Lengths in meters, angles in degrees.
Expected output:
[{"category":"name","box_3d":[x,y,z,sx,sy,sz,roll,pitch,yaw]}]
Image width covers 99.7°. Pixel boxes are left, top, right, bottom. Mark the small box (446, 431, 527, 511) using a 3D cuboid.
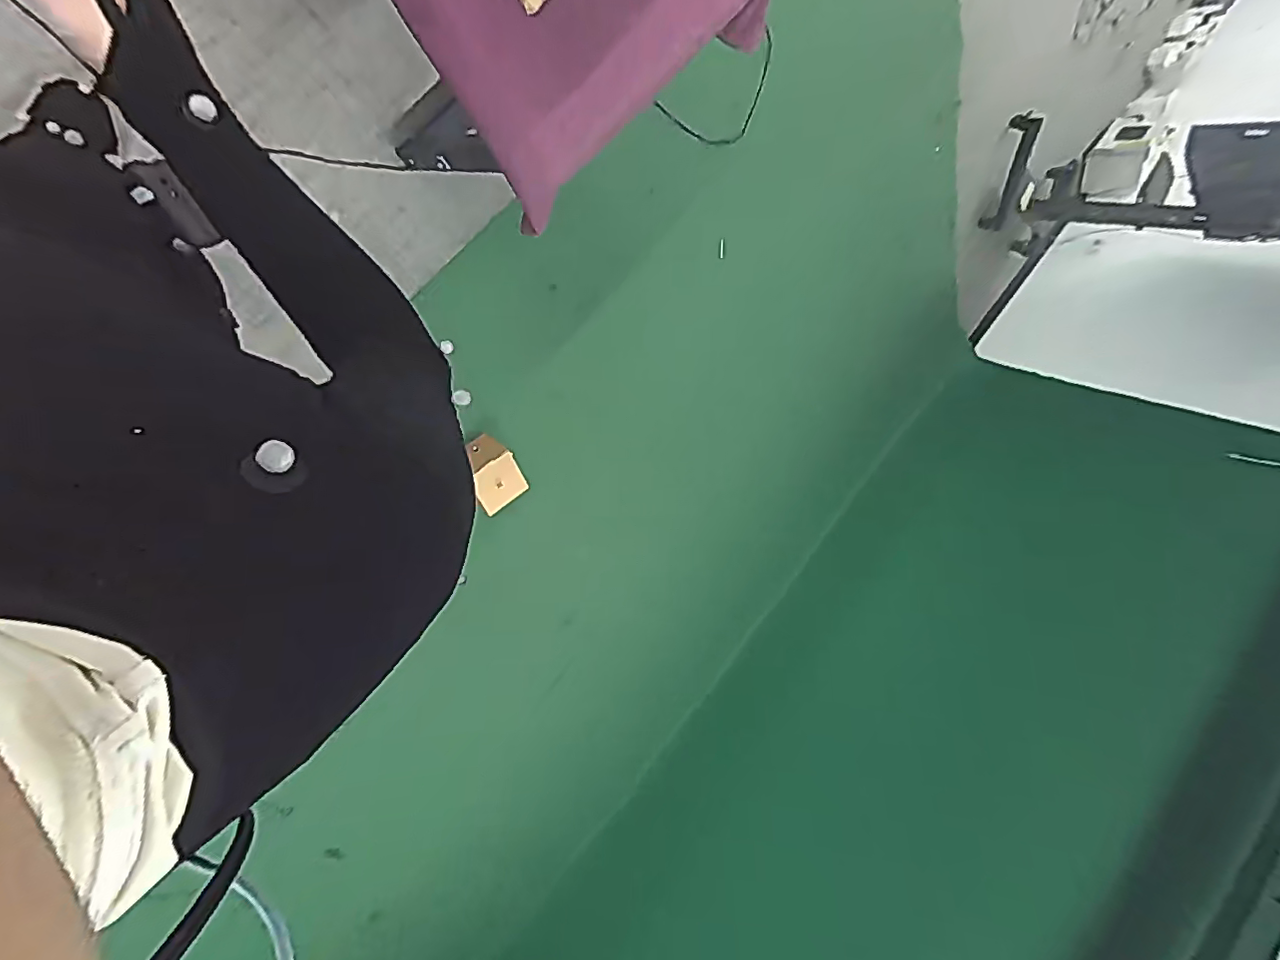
[{"category":"small box","box_3d":[-0.515,-0.035,1.815,0.168,0.176,0.179,-39,134,-20]}]
